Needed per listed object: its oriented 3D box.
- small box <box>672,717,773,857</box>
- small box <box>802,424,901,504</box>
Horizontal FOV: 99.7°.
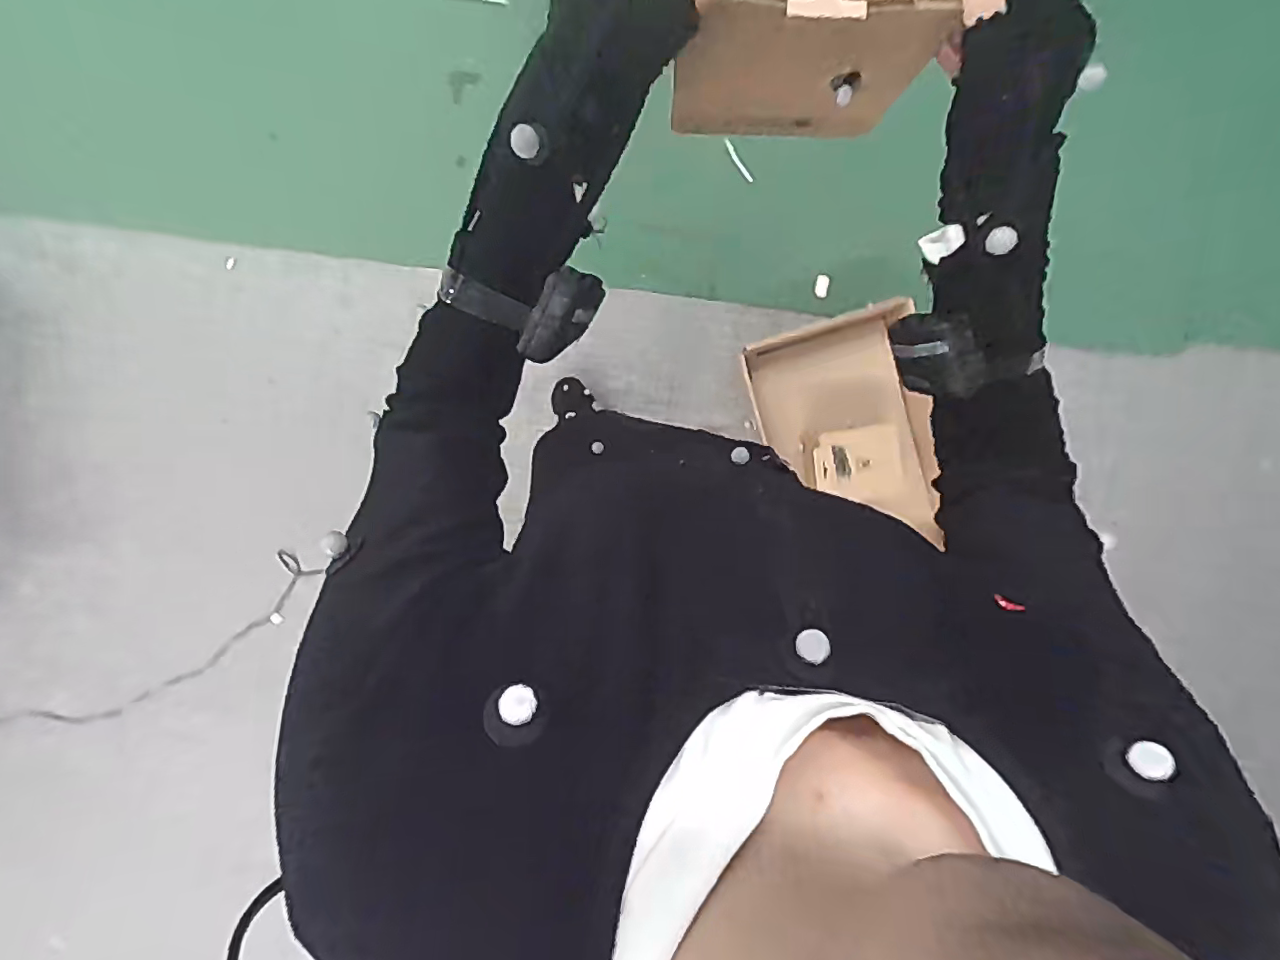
[{"bbox_3d":[0.165,0.634,1.141,0.168,0.176,0.179,15,97,2],"label":"small box"},{"bbox_3d":[0.501,-0.042,1.306,0.179,0.176,0.168,-8,96,2],"label":"small box"}]
